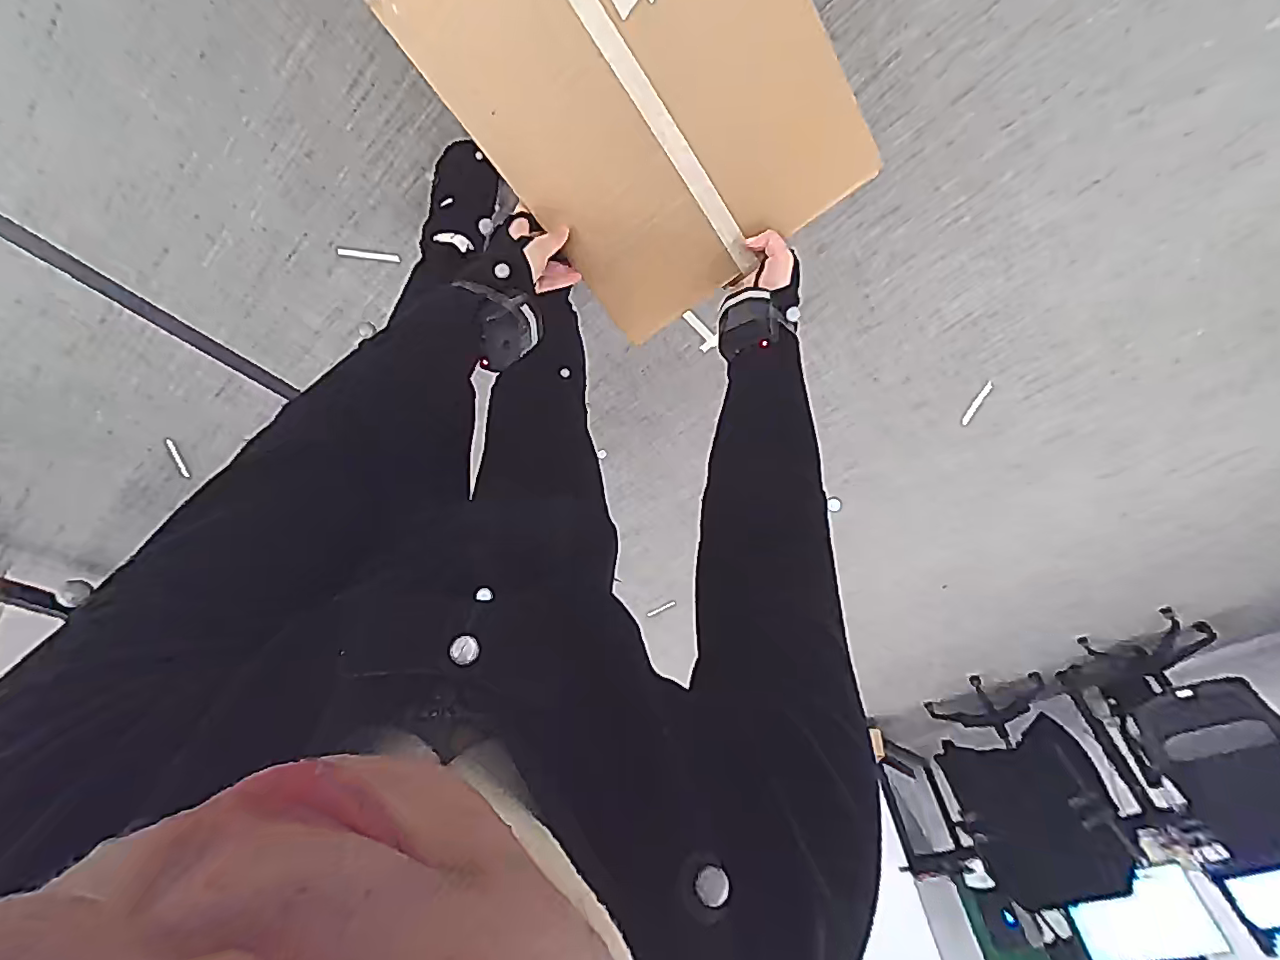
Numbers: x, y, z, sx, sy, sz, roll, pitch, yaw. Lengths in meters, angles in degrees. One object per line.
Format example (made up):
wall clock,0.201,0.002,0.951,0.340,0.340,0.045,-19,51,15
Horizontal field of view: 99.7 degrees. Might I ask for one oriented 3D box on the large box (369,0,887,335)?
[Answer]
large box,0.011,-0.455,0.618,0.320,0.320,0.408,-31,117,23
